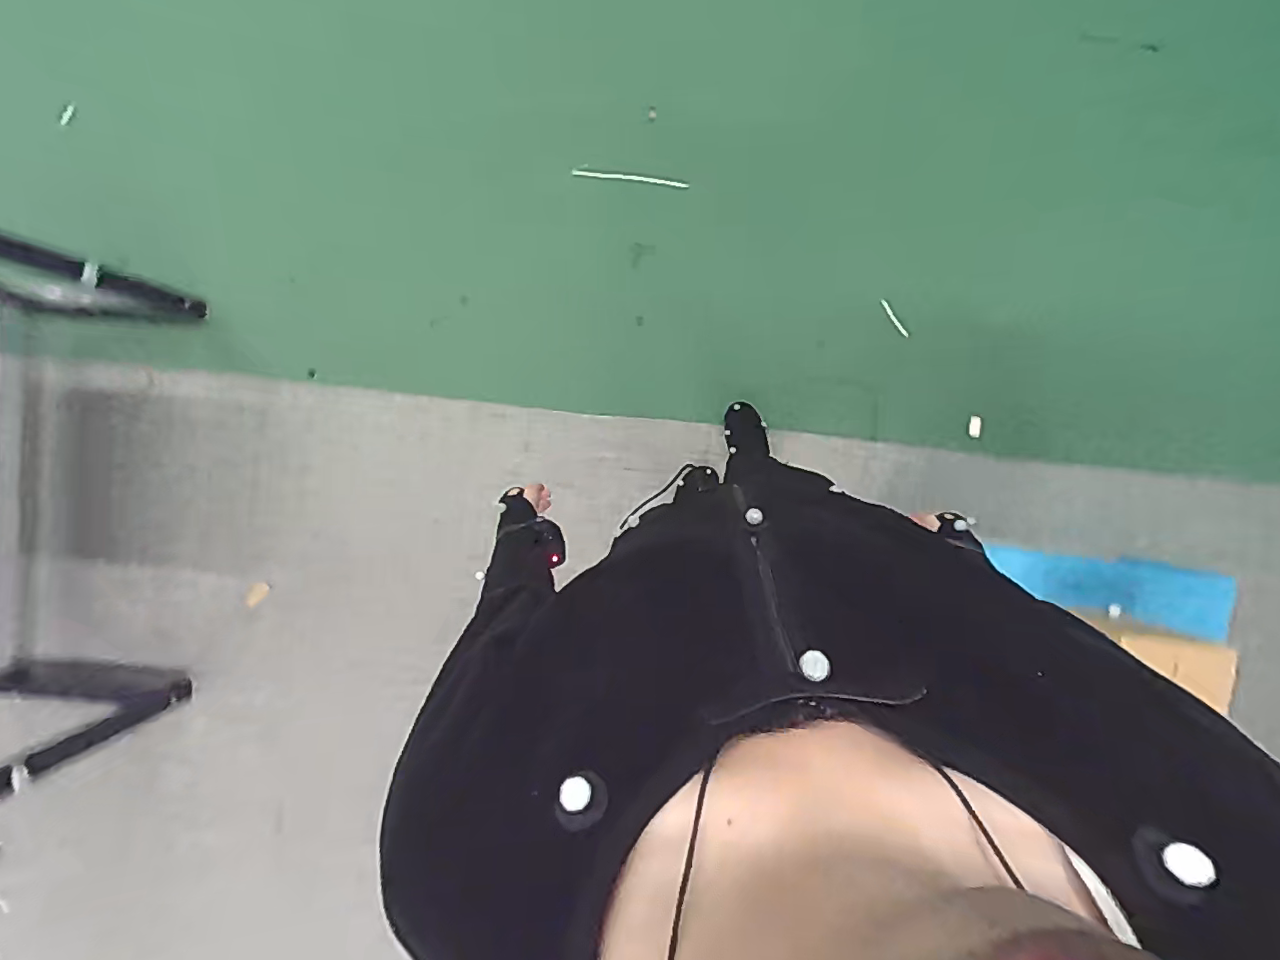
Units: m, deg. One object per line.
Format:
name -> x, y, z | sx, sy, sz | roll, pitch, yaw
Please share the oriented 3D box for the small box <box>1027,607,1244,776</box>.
small box -> 0.734, 0.309, 0.822 | 0.168, 0.176, 0.179 | 8, 92, 0
